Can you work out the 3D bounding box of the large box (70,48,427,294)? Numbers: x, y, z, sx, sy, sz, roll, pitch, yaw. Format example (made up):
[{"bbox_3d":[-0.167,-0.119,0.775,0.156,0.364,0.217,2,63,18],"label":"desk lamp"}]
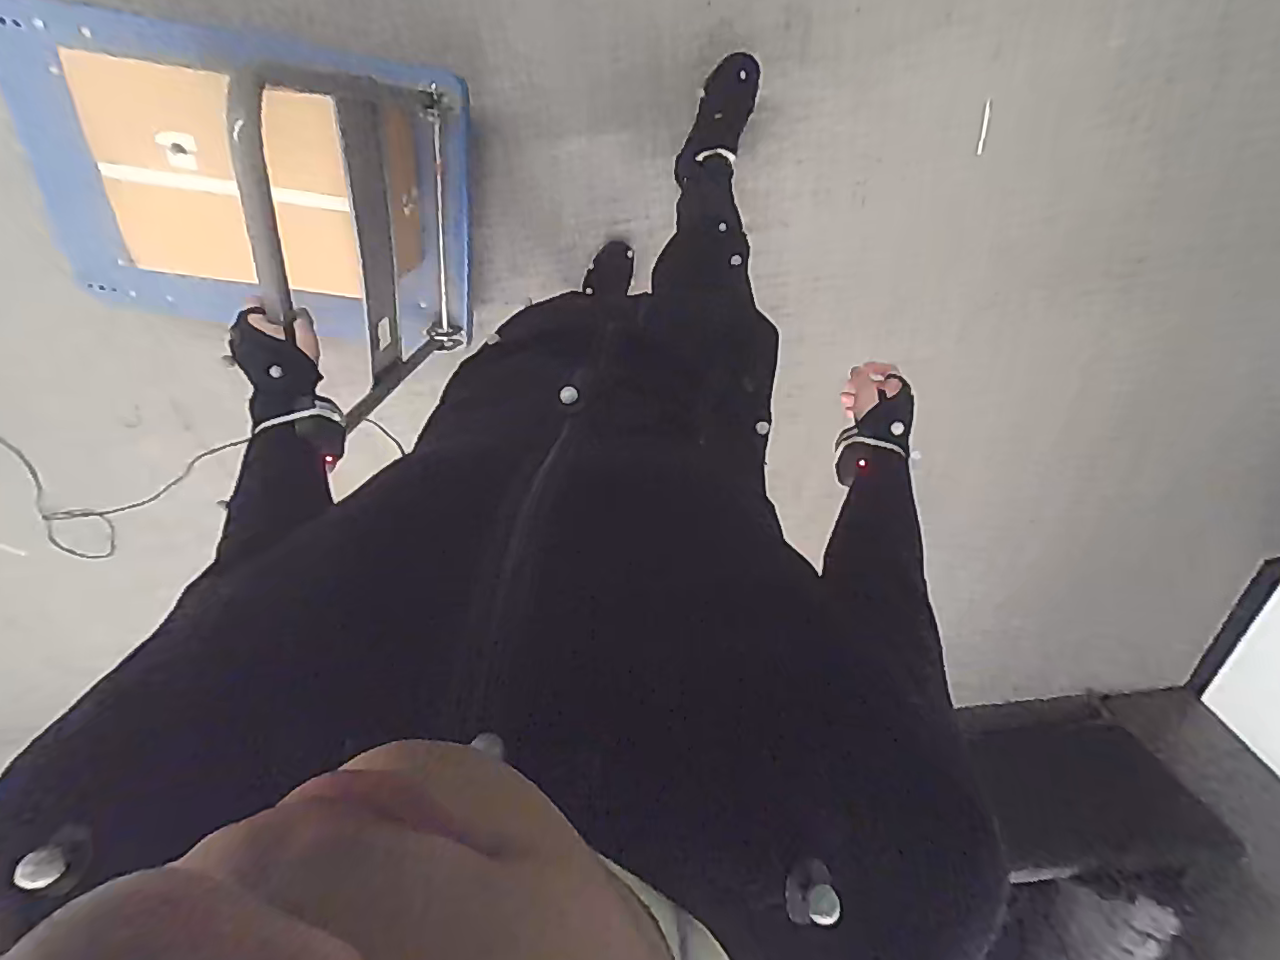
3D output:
[{"bbox_3d":[-0.656,-0.566,1.008,0.408,0.320,0.320,6,122,-6],"label":"large box"}]
